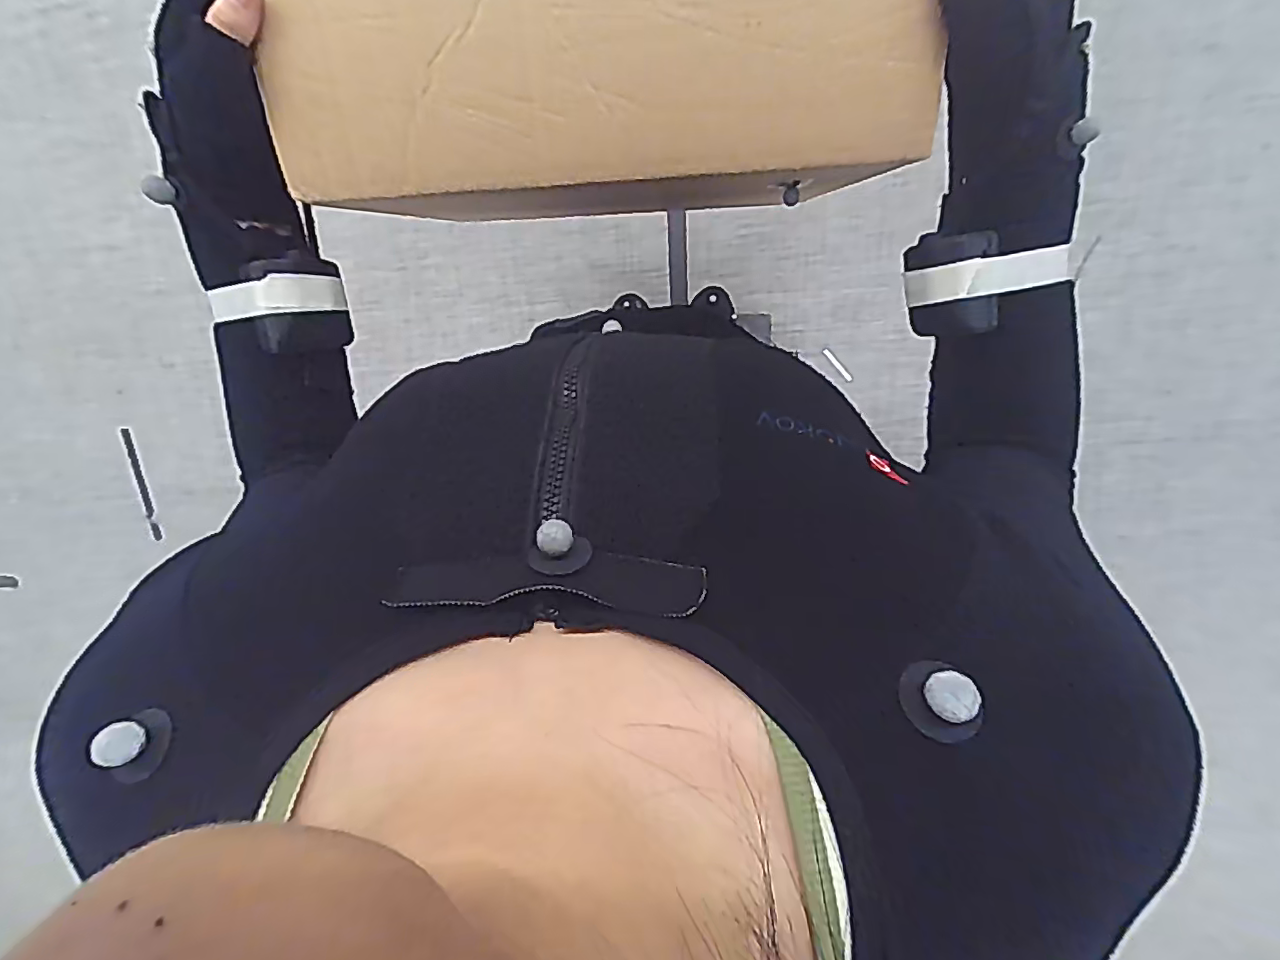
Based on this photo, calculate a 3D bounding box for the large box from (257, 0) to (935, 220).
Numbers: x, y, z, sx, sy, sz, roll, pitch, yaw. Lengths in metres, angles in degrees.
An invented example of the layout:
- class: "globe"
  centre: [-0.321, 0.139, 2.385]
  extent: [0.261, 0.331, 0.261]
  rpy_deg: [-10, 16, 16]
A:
- class: "large box"
  centre: [-0.025, -0.395, 0.430]
  extent: [0.408, 0.320, 0.320]
  rpy_deg: [-2, 113, 3]

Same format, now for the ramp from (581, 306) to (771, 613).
- class: "ramp"
  centre: [0.131, 0.008, 1.609]
  extent: [0.509, 0.206, 0.991]
  rpy_deg: [-4, 108, 5]
